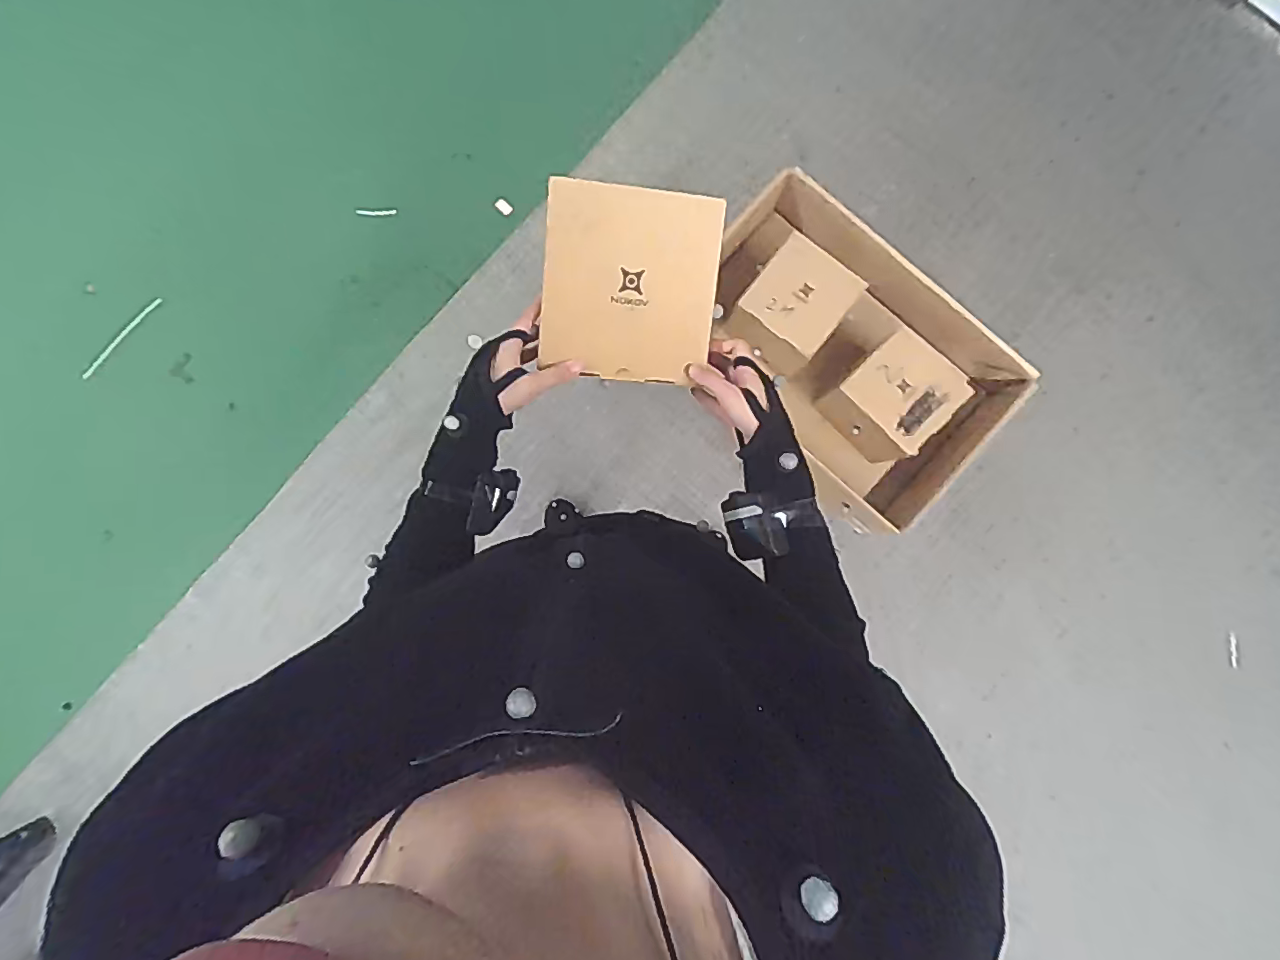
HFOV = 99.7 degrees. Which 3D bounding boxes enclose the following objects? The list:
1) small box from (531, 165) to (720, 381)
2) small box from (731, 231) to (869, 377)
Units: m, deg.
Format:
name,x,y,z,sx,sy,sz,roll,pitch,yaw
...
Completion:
name,x,y,z,sx,sy,sz,roll,pitch,yaw
small box,-0.022,-0.204,0.580,0.168,0.176,0.179,5,101,-6
small box,0.294,-0.326,1.038,0.168,0.176,0.179,39,88,3
